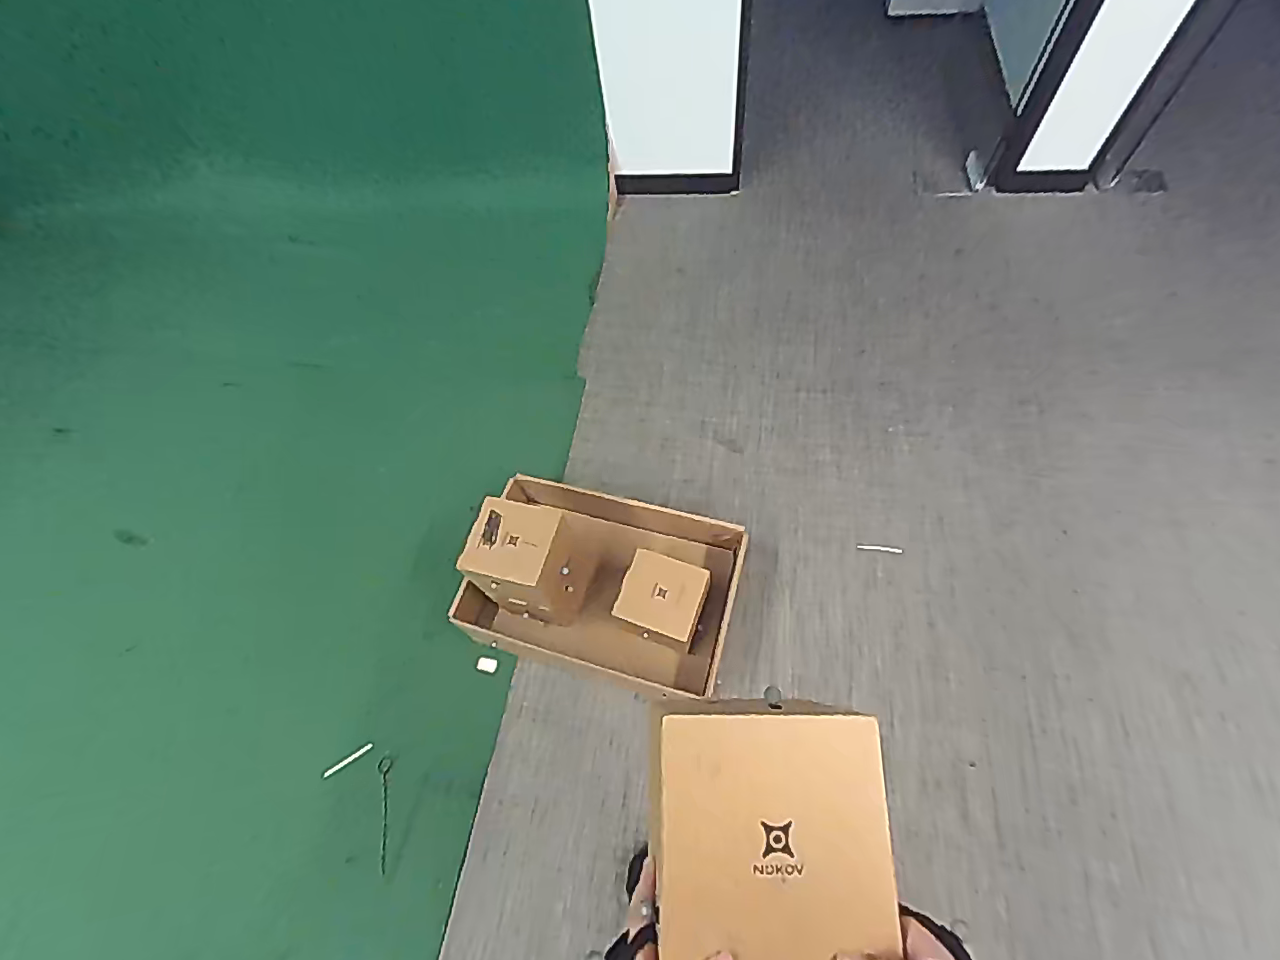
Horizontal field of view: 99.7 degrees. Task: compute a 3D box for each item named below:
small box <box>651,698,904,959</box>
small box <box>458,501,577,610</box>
[{"bbox_3d":[0.096,0.286,0.463,0.168,0.176,0.179,1,73,-2],"label":"small box"},{"bbox_3d":[-0.252,0.167,1.162,0.179,0.176,0.168,12,63,11],"label":"small box"}]
